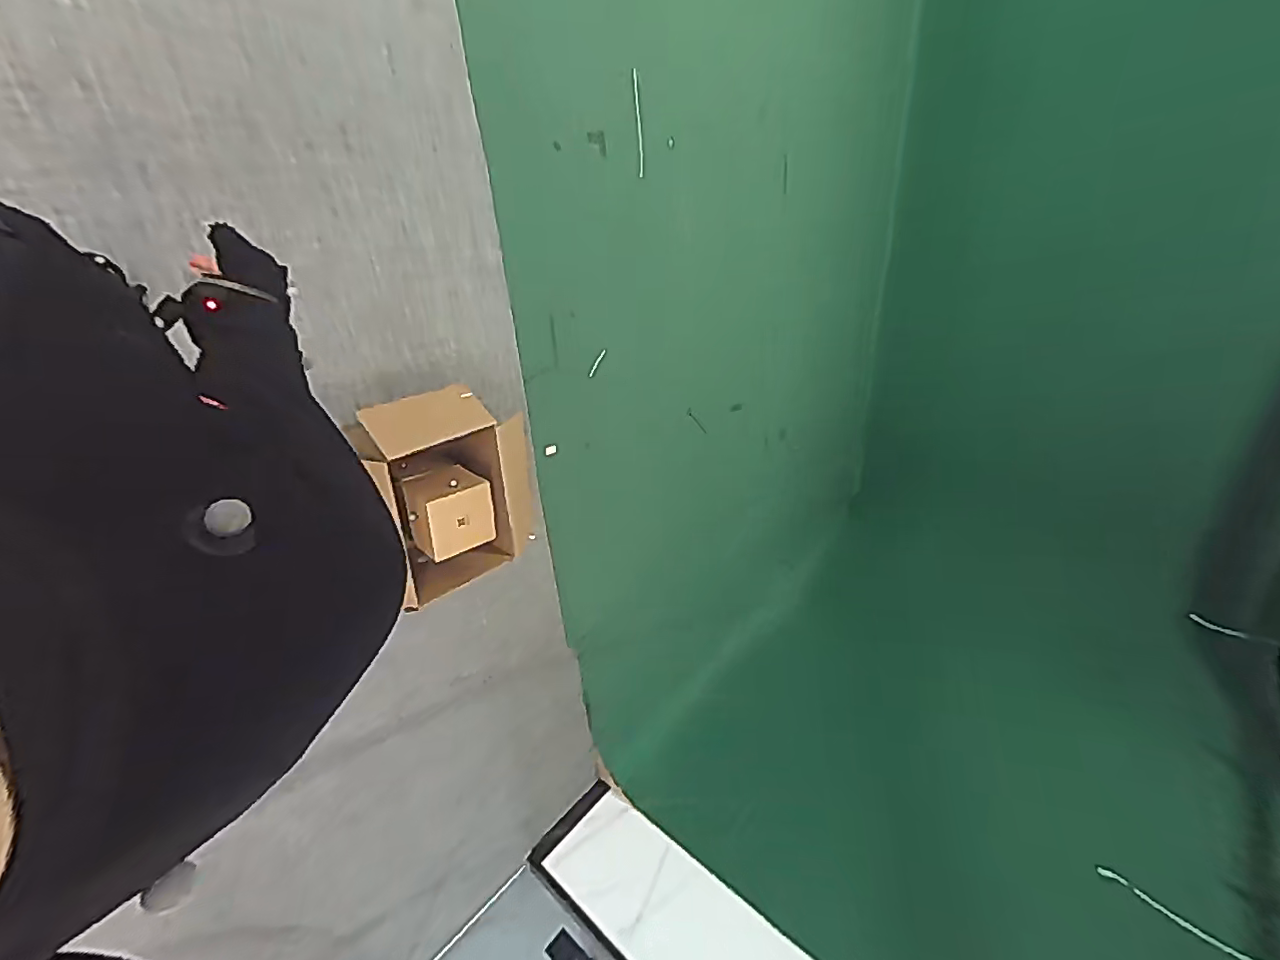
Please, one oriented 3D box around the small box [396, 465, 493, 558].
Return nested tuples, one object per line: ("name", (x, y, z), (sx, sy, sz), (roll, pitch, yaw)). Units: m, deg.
("small box", (-0.514, 0.075, 1.409), (0.179, 0.176, 0.168), (-25, 123, -42))
